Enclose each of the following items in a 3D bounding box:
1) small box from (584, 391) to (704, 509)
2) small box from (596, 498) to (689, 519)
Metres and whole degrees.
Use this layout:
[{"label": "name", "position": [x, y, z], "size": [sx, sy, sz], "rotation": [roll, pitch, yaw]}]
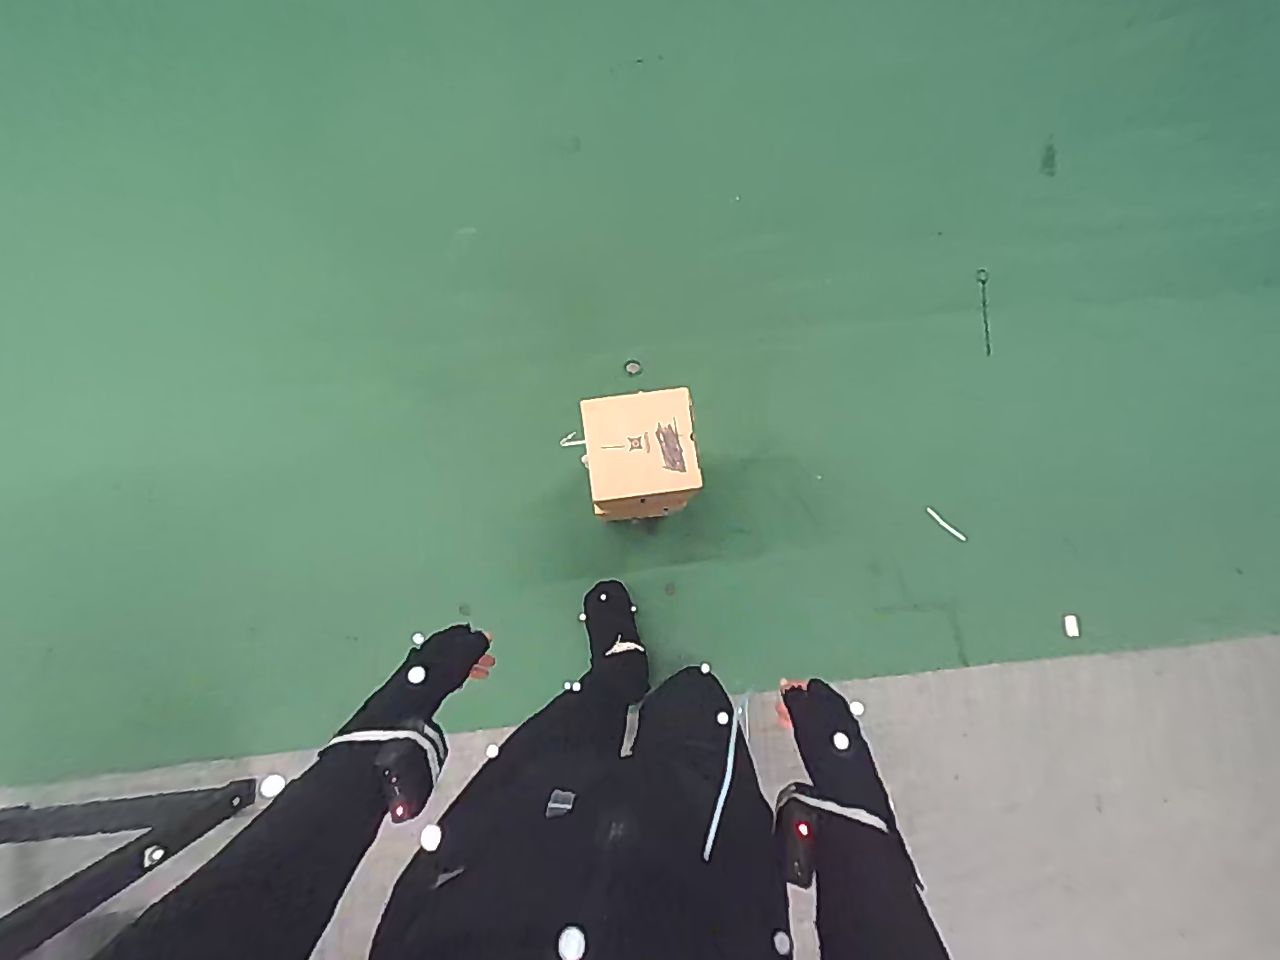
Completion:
[{"label": "small box", "position": [0.004, -0.044, 0.933], "size": [0.179, 0.176, 0.168], "rotation": [-8, 83, -1]}, {"label": "small box", "position": [-0.002, -0.013, 1.095], "size": [0.179, 0.176, 0.168], "rotation": [-6, 83, -2]}]
